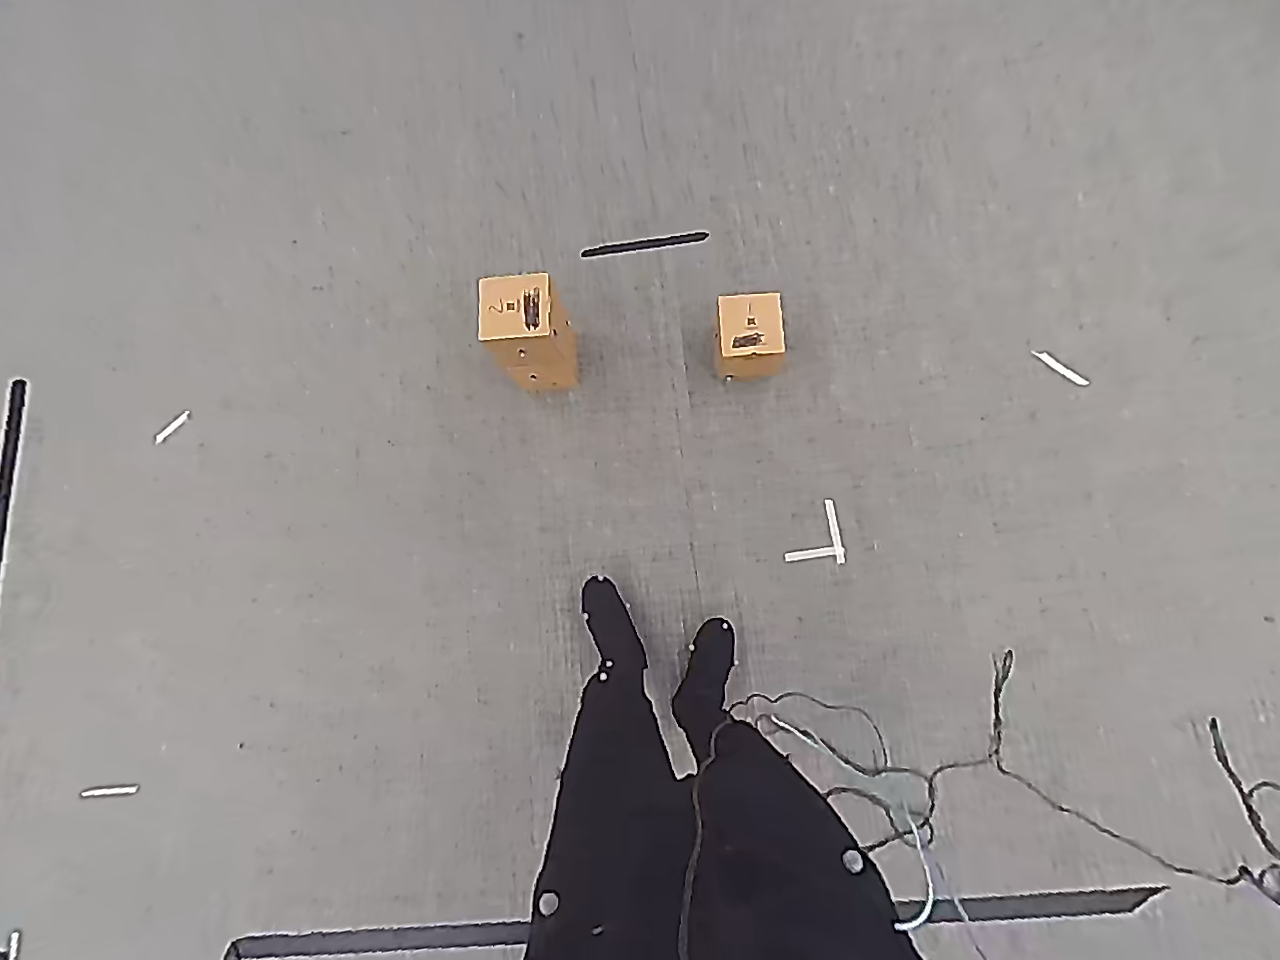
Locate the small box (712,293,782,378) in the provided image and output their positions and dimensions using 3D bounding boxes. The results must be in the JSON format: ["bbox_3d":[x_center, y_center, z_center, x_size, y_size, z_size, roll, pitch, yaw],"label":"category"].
[{"bbox_3d":[0.289,-0.390,1.493,0.168,0.176,0.179,-3,78,2],"label":"small box"}]

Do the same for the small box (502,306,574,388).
[{"bbox_3d":[-0.284,-0.366,1.527,0.168,0.176,0.179,-5,78,3],"label":"small box"}]
